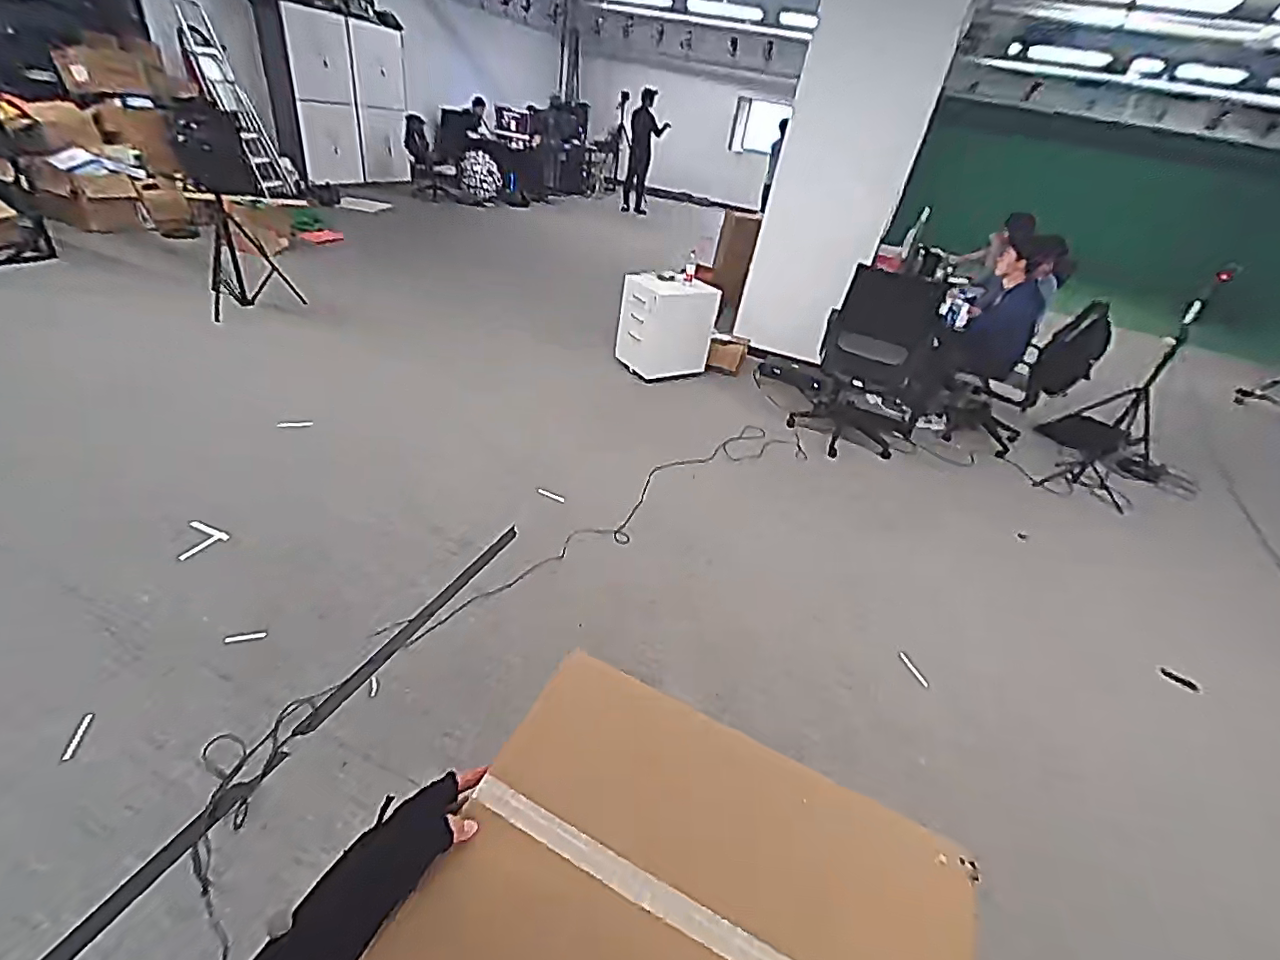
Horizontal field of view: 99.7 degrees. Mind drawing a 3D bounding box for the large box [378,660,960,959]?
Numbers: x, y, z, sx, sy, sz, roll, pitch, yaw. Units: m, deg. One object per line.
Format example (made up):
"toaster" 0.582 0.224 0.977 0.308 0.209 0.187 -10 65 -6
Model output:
"large box" 0.026 0.458 0.525 0.408 0.320 0.320 22 42 16
